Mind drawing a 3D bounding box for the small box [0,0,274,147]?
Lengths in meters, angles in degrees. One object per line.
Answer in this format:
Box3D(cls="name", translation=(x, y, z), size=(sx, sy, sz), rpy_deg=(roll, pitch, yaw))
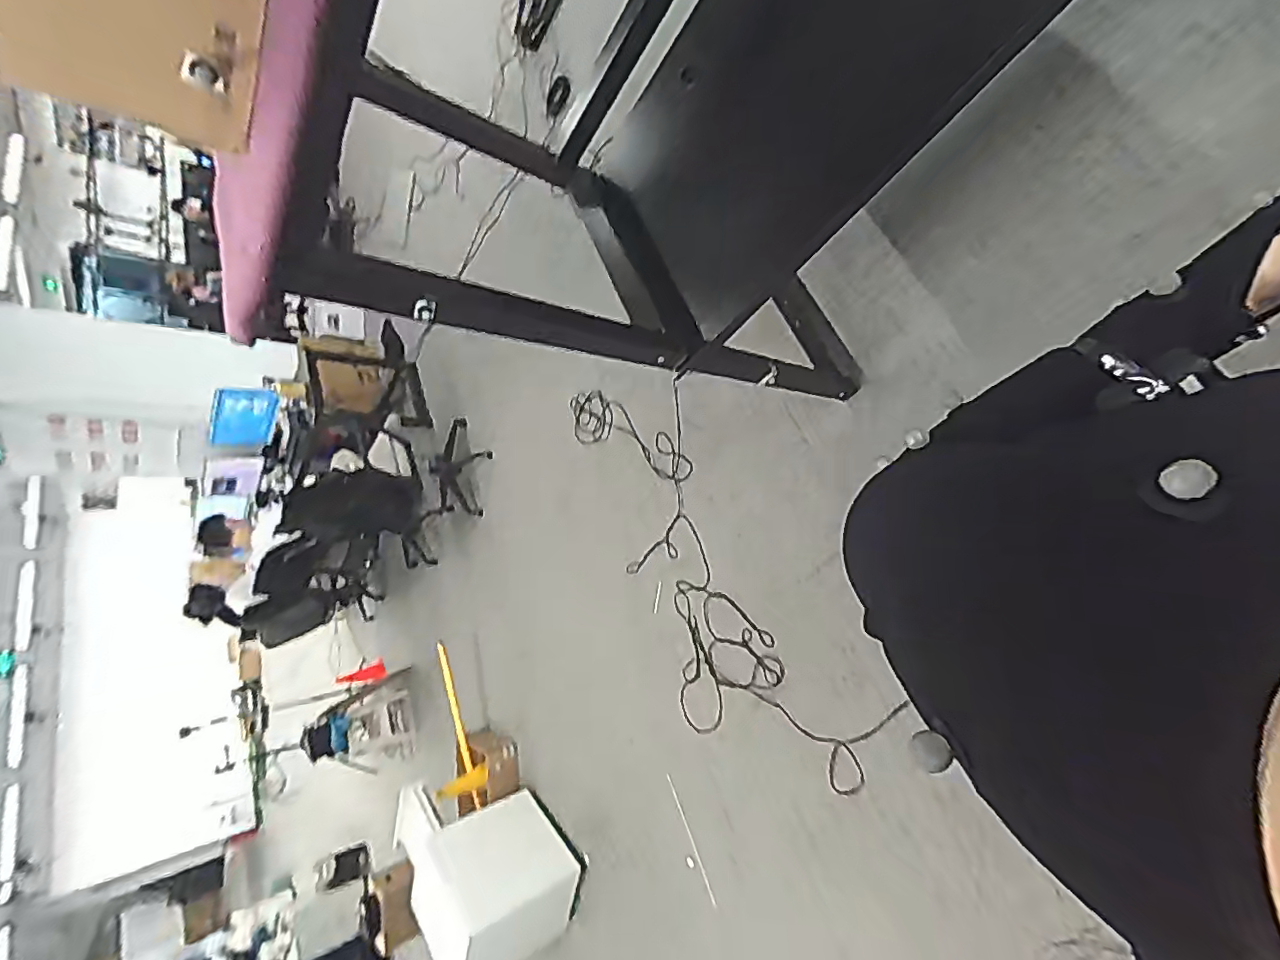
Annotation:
Box3D(cls="small box", translation=(-0.435, -0.432, 0.467), size=(0.168, 0.176, 0.179), rpy_deg=(-46, 60, 38))
